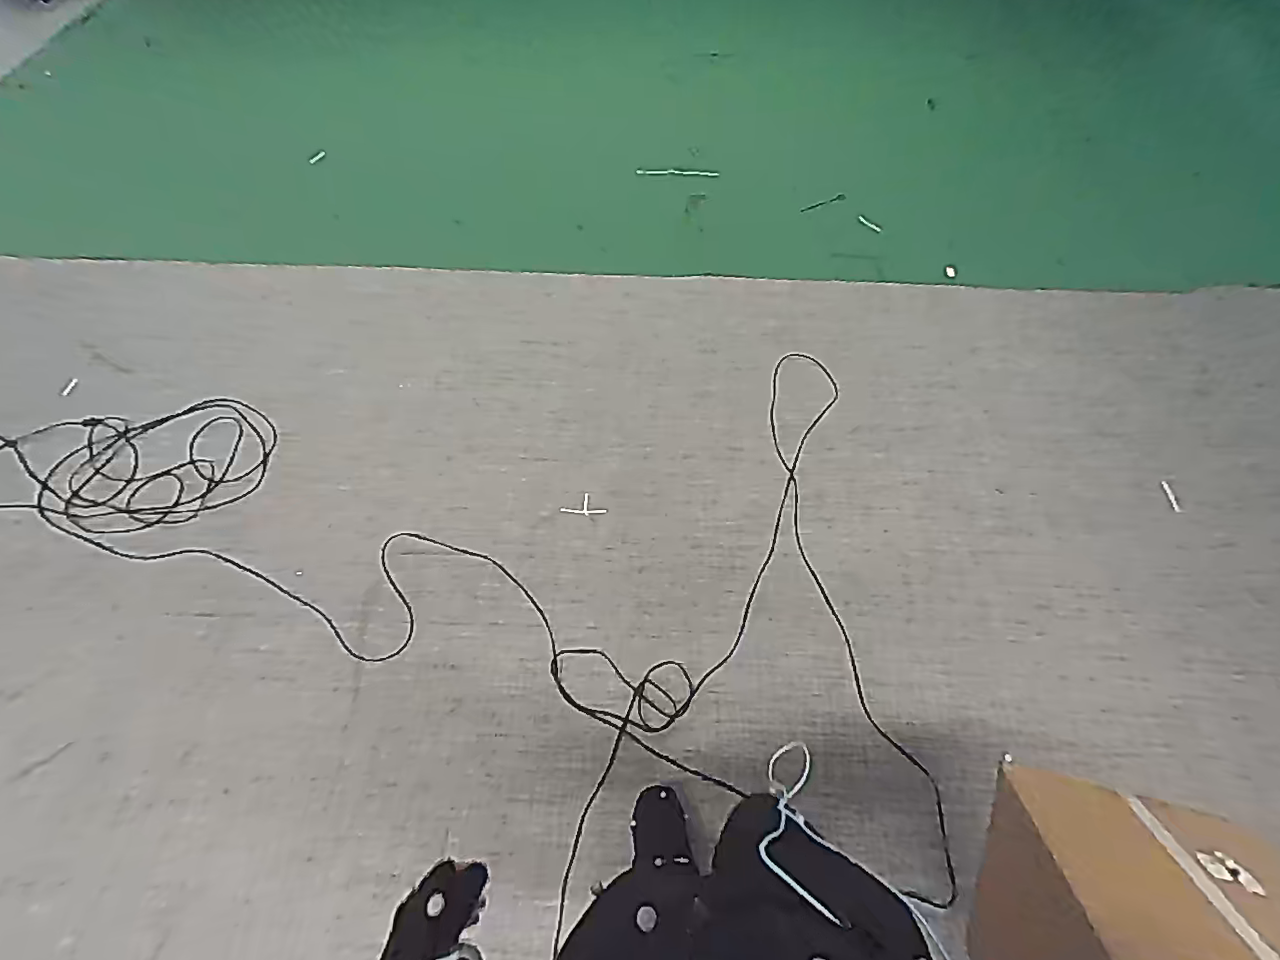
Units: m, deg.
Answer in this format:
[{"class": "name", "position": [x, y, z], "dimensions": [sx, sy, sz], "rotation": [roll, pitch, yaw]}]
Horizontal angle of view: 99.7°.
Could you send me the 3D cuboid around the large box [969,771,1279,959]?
[{"class": "large box", "position": [0.625, 0.632, 0.623], "dimensions": [0.320, 0.408, 0.320], "rotation": [9, 97, 17]}]
